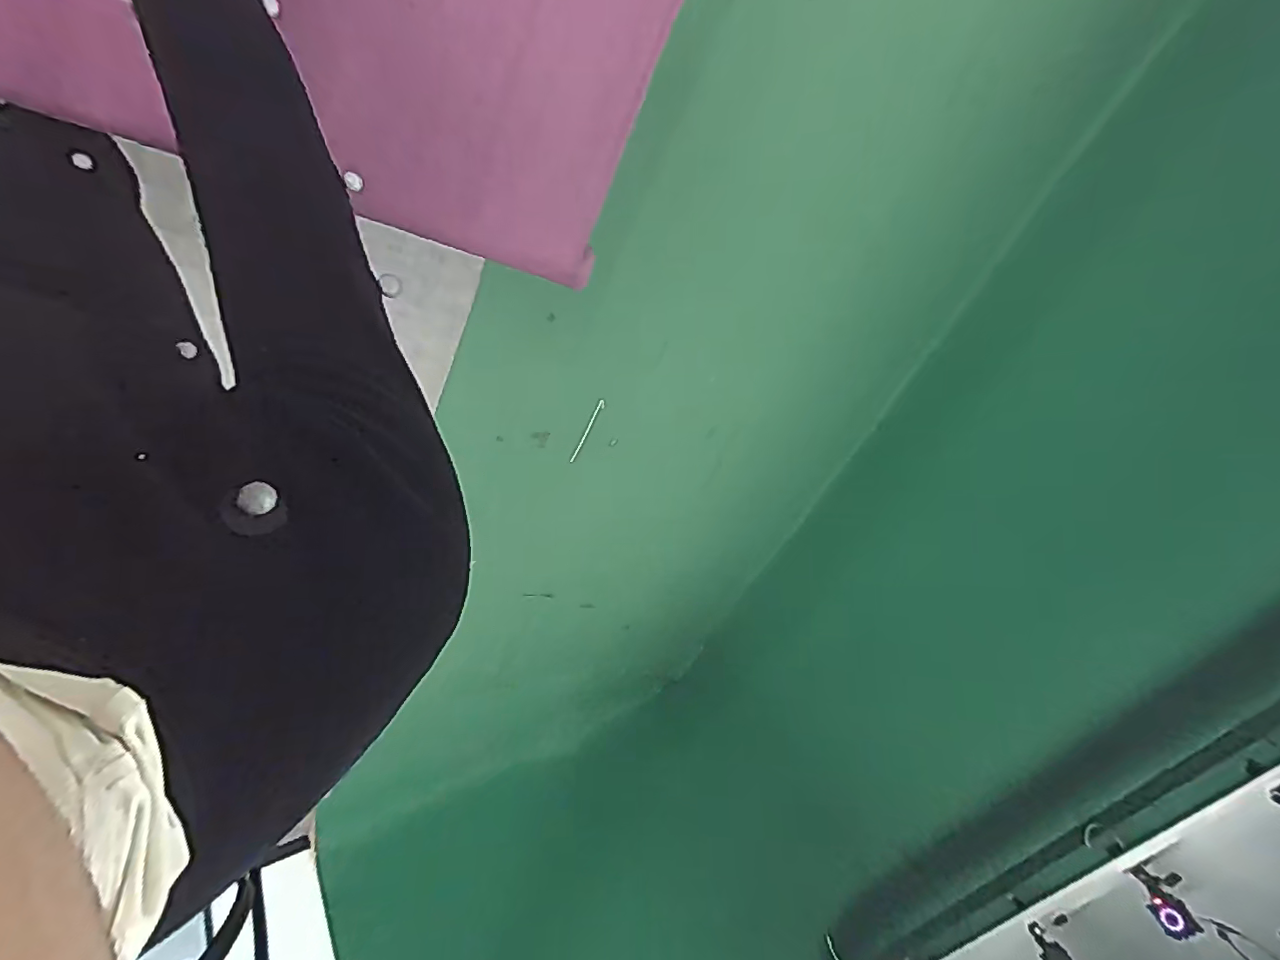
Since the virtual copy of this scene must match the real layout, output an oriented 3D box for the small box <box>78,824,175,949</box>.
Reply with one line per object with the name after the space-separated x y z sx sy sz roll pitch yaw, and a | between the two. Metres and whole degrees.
-1.318 1.033 1.387 0.168 0.176 0.179 4 126 -48 | small box
